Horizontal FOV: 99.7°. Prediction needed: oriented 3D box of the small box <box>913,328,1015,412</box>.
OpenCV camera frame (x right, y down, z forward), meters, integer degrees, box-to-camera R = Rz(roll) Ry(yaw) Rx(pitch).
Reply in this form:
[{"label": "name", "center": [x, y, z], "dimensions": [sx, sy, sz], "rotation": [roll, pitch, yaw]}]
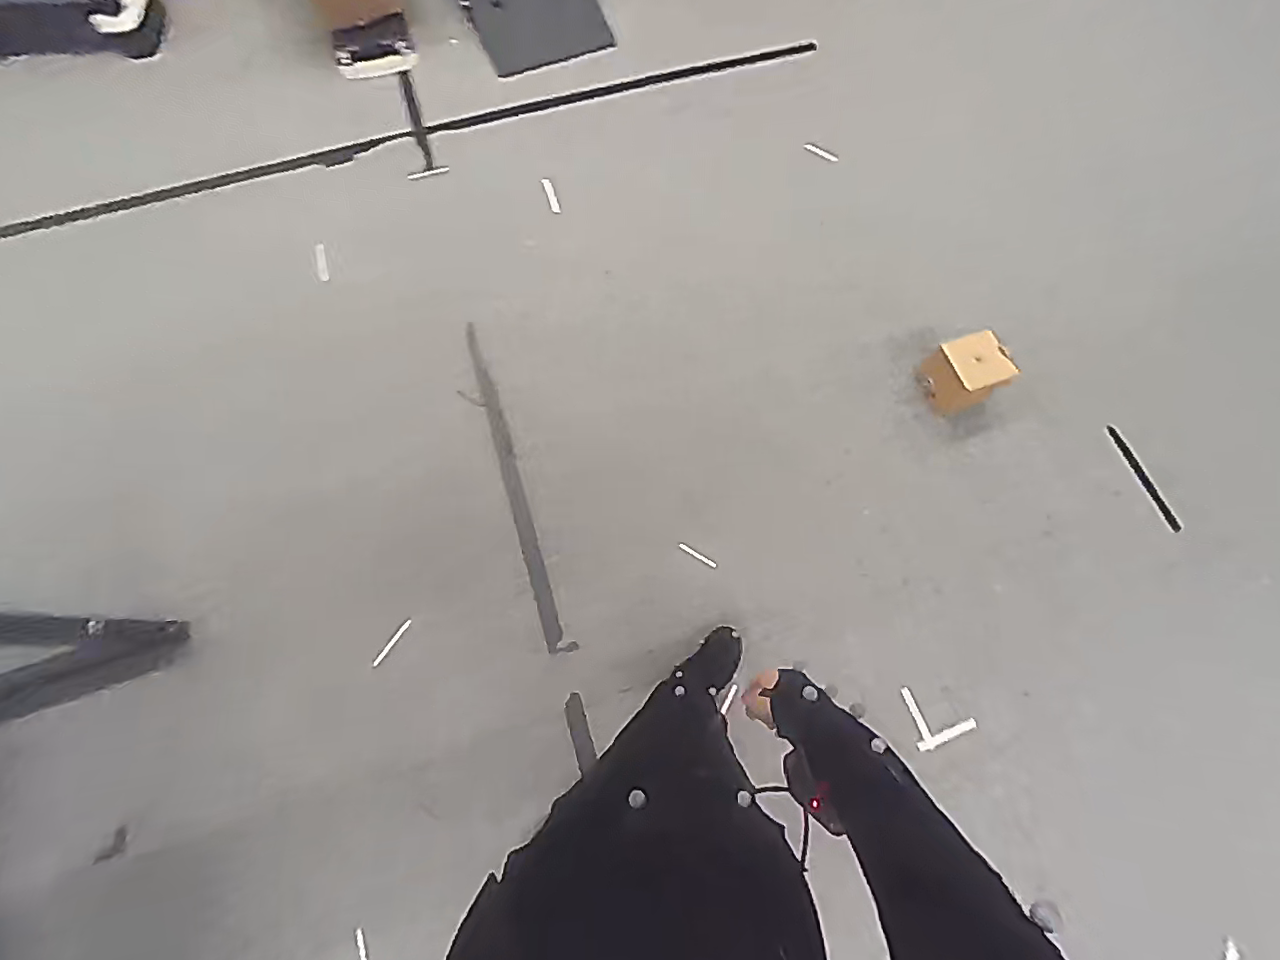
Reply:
[{"label": "small box", "center": [0.985, -0.333, 1.659], "dimensions": [0.179, 0.176, 0.168], "rotation": [-18, 72, -7]}]
